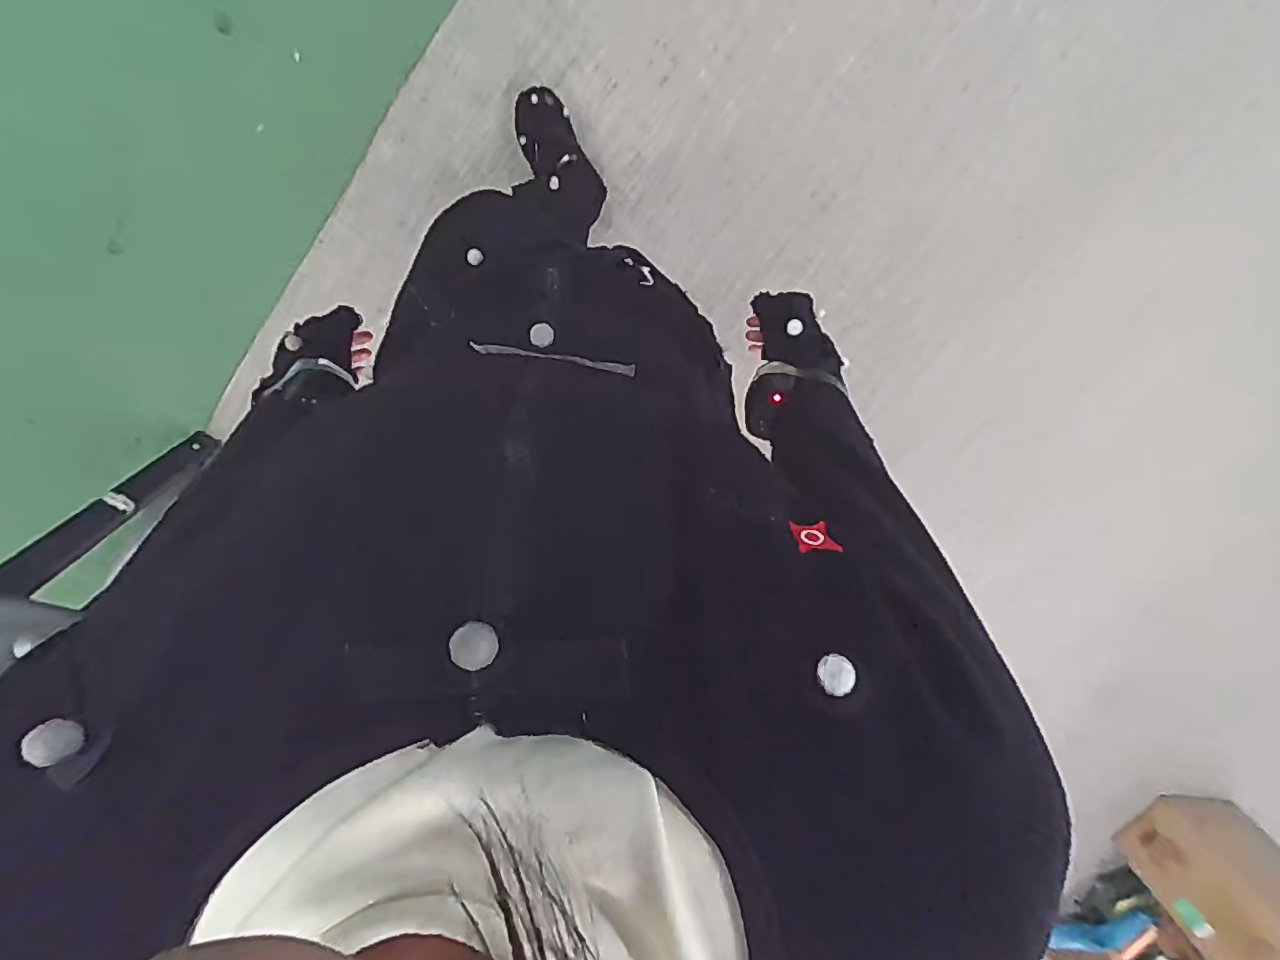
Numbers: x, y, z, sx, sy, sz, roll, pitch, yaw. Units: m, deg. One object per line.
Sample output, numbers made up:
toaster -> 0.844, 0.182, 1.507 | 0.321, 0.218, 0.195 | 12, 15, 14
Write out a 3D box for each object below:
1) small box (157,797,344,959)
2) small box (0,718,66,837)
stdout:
small box -> -0.623, 0.665, 0.889 | 0.168, 0.176, 0.179 | 35, 110, -23
small box -> -0.934, 0.429, 0.715 | 0.168, 0.176, 0.179 | 36, 110, -24
